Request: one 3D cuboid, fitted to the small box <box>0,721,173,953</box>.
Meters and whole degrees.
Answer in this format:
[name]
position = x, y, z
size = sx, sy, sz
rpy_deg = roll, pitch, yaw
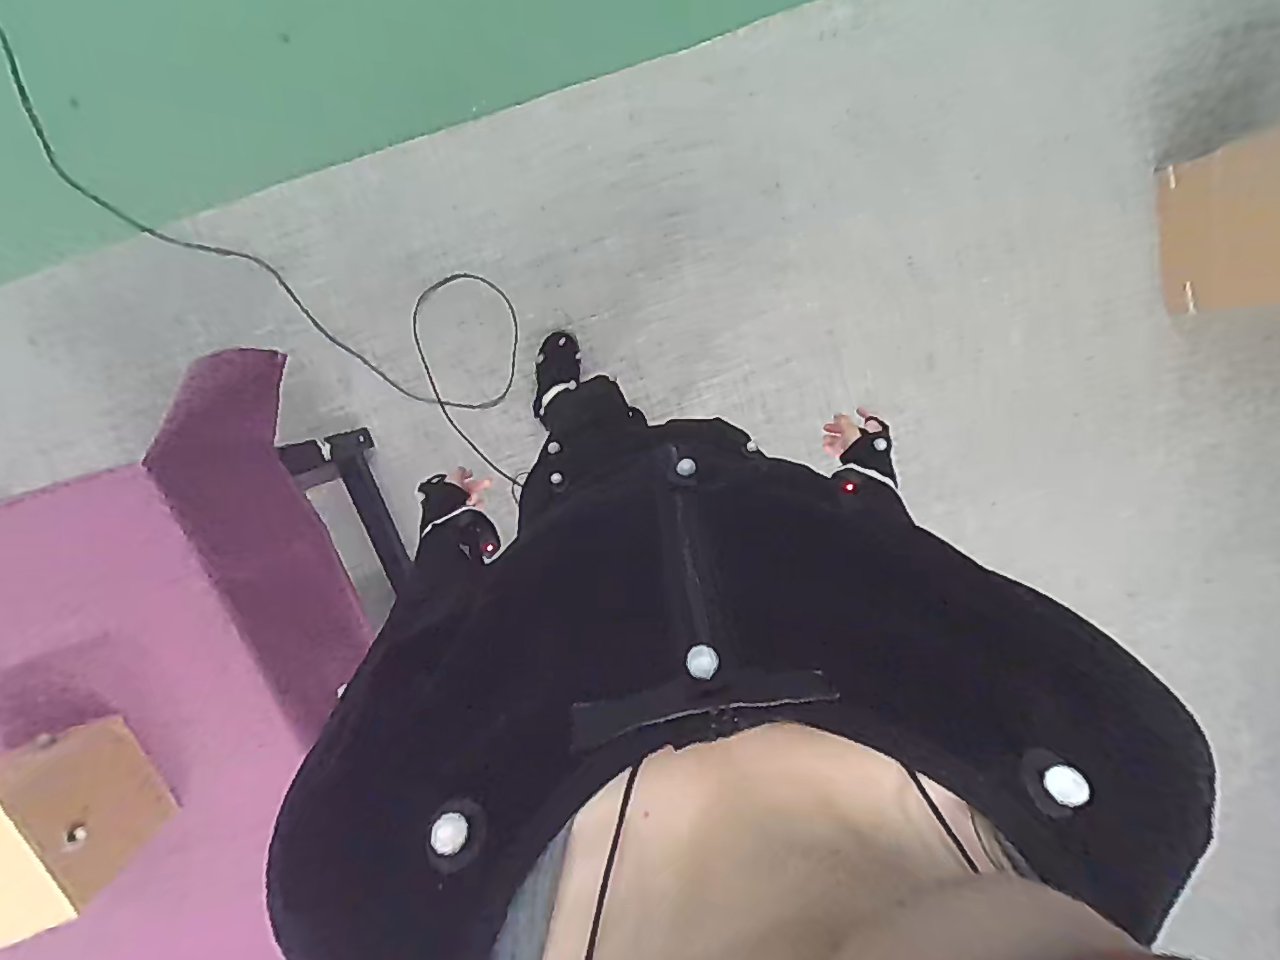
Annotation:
[small box]
position = -0.760, 0.448, 0.685
size = 0.168, 0.176, 0.179
rpy_deg = -19, 100, -2
